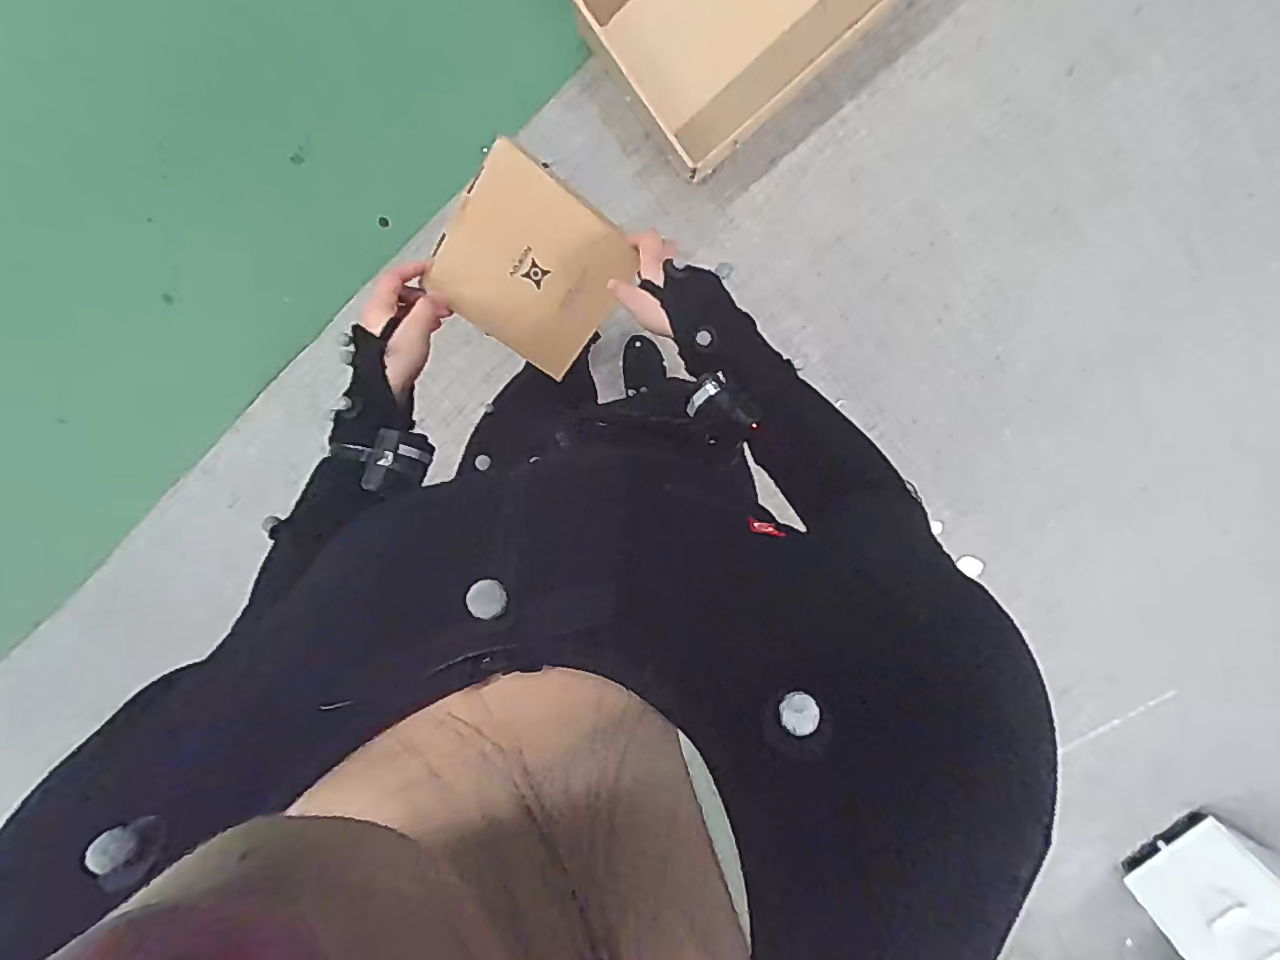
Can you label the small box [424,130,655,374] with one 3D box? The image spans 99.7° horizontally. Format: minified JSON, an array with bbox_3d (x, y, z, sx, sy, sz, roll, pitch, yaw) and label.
[{"bbox_3d":[-0.108,-0.254,0.611,0.179,0.176,0.168,31,113,-22],"label":"small box"}]
